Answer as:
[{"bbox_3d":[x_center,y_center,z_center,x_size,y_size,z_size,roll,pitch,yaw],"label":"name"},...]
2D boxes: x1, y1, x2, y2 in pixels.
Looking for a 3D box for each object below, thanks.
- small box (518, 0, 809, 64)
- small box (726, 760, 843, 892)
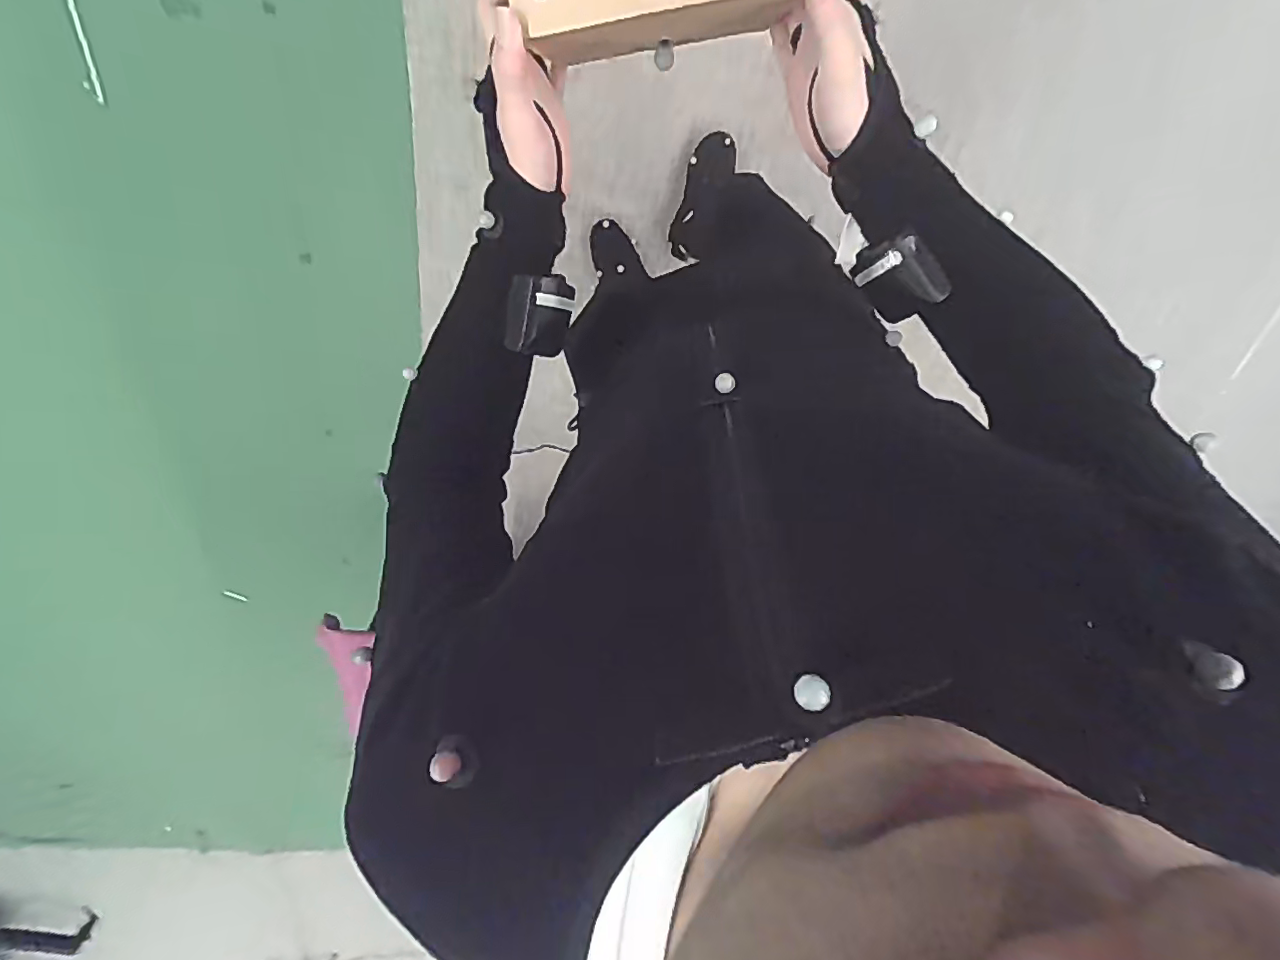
[{"bbox_3d":[0.009,-0.381,0.338,0.179,0.176,0.168,-5,122,6],"label":"small box"},{"bbox_3d":[0.277,0.688,1.083,0.179,0.176,0.168,-2,122,-4],"label":"small box"}]
